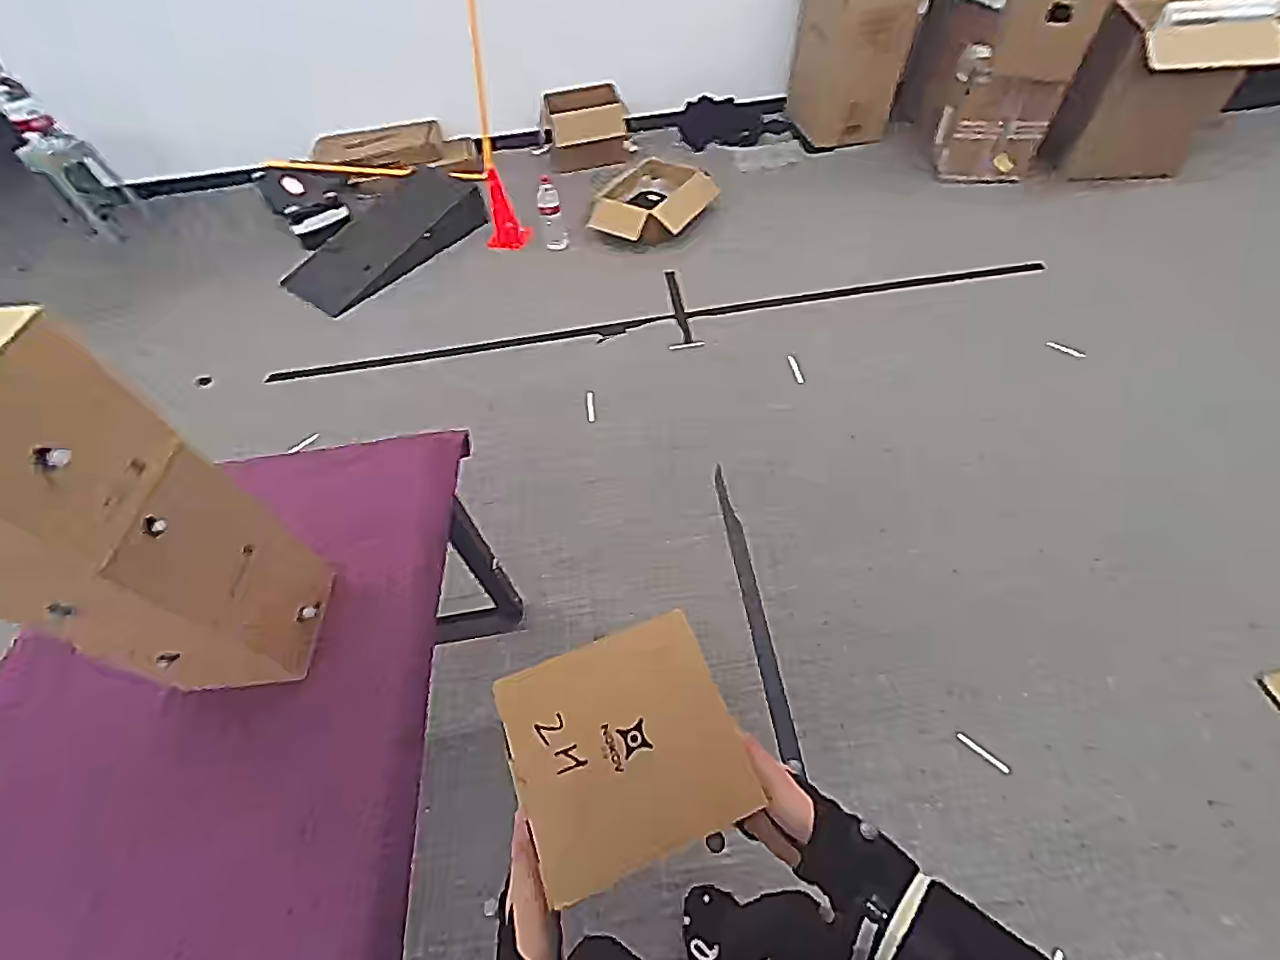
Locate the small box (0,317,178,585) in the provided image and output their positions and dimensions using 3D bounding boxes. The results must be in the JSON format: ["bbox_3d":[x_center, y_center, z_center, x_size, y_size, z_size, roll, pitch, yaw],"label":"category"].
[{"bbox_3d":[-0.572,-0.016,0.471,0.179,0.176,0.168,-5,54,2],"label":"small box"}]

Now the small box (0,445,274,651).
[{"bbox_3d":[-0.566,0.082,0.602,0.179,0.176,0.168,-5,54,3],"label":"small box"}]

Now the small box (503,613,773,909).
[{"bbox_3d":[-0.009,0.245,0.496,0.179,0.176,0.168,-18,63,-11],"label":"small box"}]

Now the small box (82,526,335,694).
[{"bbox_3d":[-0.559,0.180,0.733,0.179,0.176,0.168,-6,54,0],"label":"small box"}]
